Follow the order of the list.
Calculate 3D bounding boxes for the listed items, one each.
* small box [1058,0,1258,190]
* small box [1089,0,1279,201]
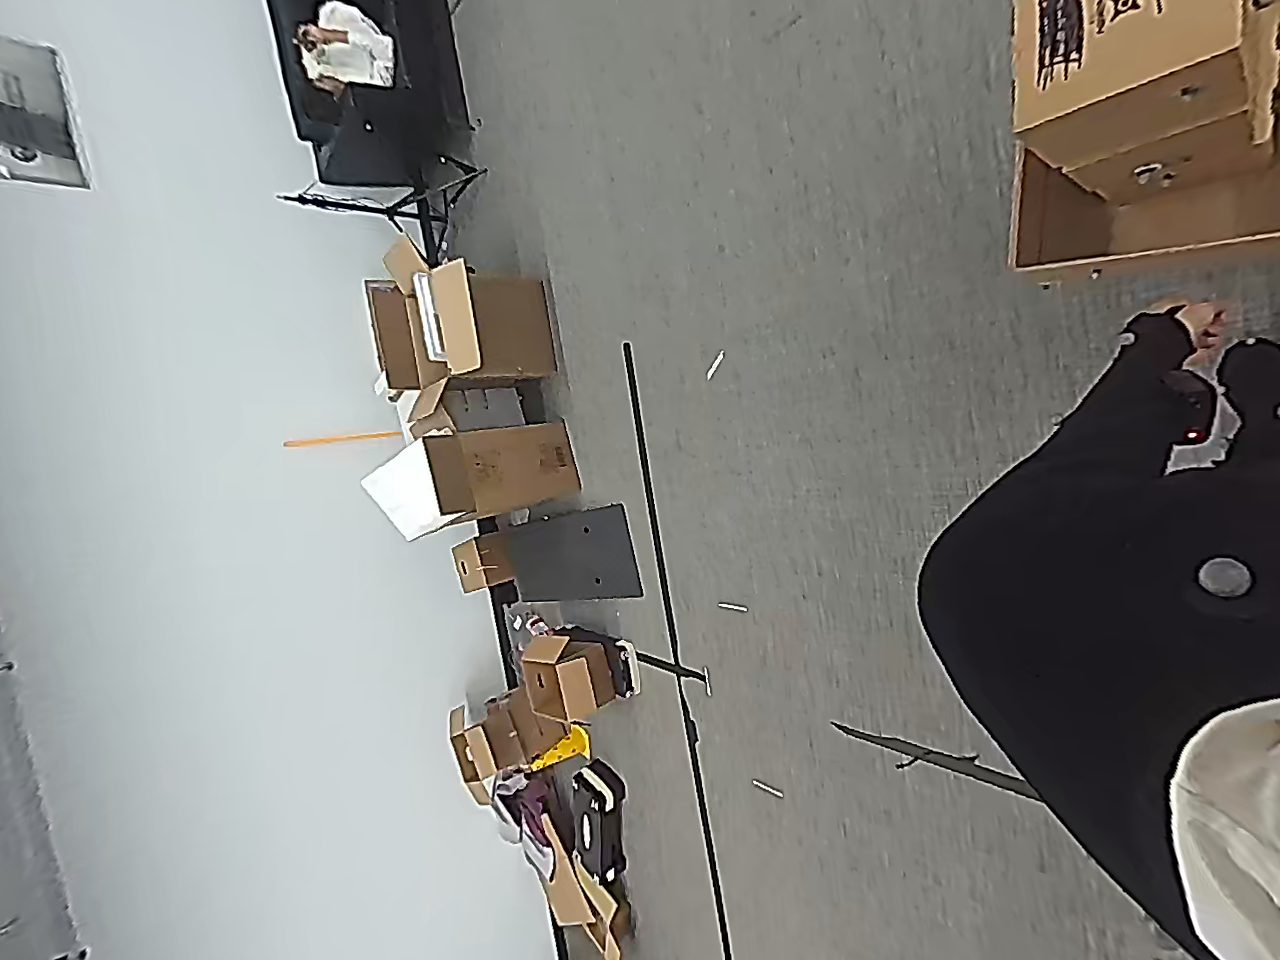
[{"bbox_3d":[0.651,-0.499,0.684,0.168,0.176,0.179,2,100,50],"label":"small box"},{"bbox_3d":[0.781,-0.523,0.780,0.179,0.176,0.168,5,104,49],"label":"small box"}]
